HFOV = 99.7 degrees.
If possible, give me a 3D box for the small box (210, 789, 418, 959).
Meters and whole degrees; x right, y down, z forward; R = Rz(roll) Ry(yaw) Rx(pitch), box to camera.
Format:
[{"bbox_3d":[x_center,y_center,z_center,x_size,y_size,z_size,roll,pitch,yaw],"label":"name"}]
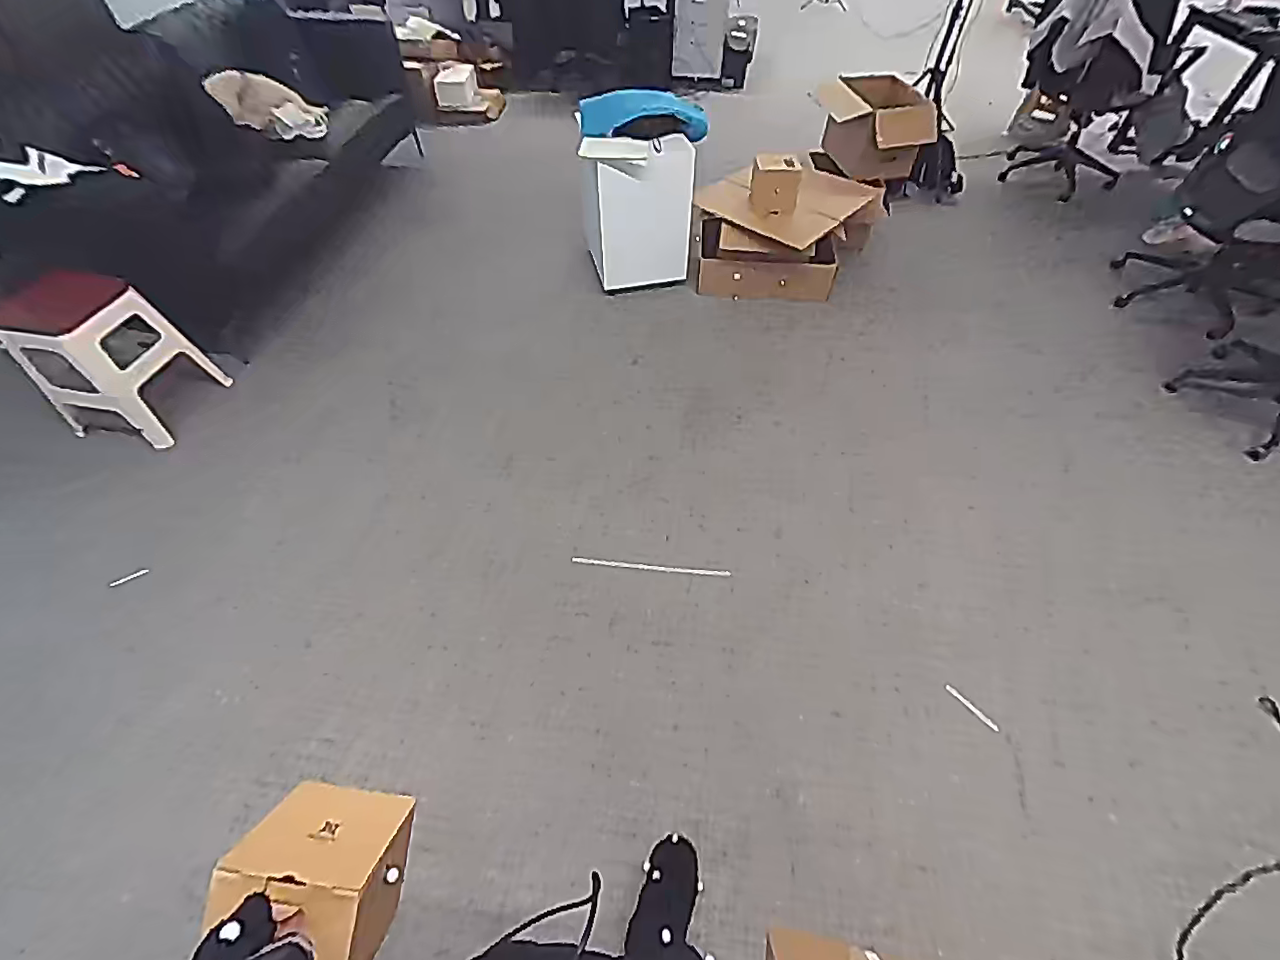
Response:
[{"bbox_3d":[-0.410,0.537,0.691,0.168,0.179,0.176,9,89,-2],"label":"small box"}]
